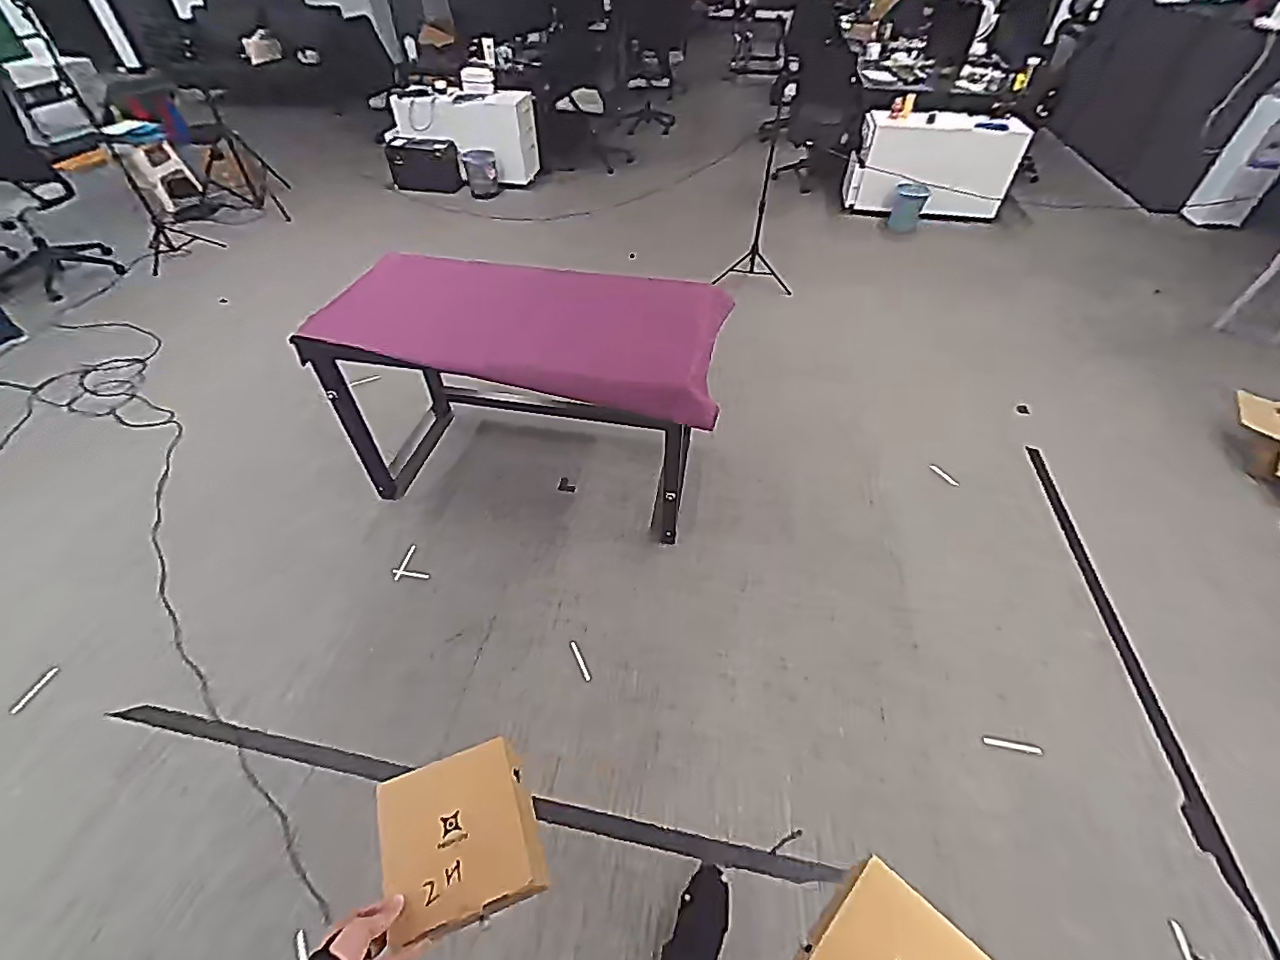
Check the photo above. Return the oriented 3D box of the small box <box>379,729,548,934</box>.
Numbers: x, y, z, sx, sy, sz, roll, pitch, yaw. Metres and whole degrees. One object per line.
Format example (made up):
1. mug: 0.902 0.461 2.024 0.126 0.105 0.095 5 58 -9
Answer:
1. small box: -0.231 0.469 0.725 0.168 0.176 0.179 -17 54 -13

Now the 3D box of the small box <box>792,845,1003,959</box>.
1. small box: 0.302 0.600 0.669 0.168 0.176 0.179 33 64 32
